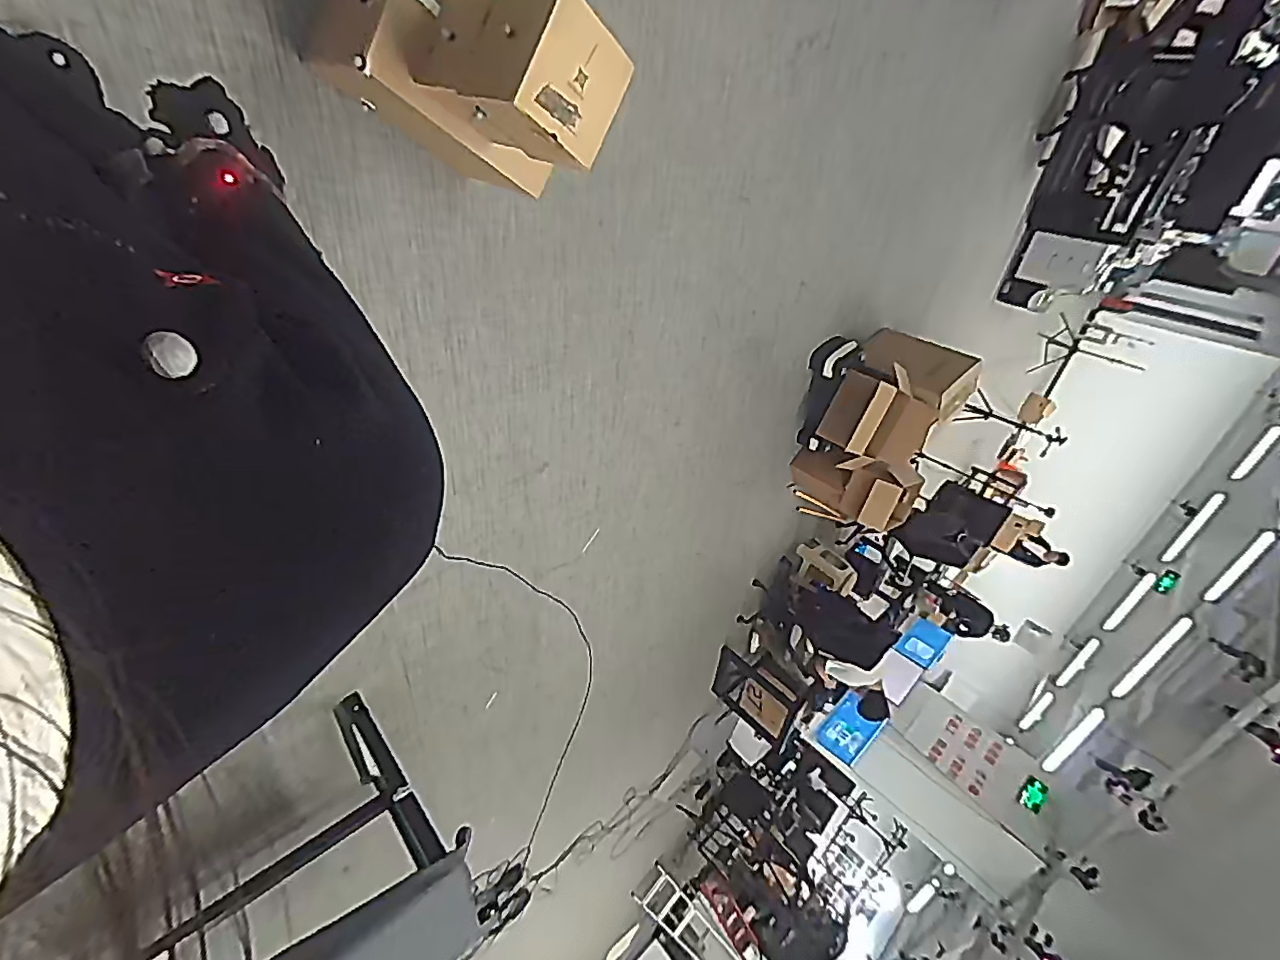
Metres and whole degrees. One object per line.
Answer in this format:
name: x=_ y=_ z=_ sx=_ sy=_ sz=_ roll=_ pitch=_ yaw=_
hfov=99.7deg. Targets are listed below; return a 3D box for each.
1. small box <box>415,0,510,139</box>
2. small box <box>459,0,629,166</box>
small box: x=-0.262 y=-0.719 z=0.945 sx=0.179 sy=0.176 sz=0.168 roll=5 pitch=113 yaw=-52
small box: x=-0.156 y=-0.633 z=0.848 sx=0.168 sy=0.176 sz=0.179 roll=14 pitch=106 yaw=-54
